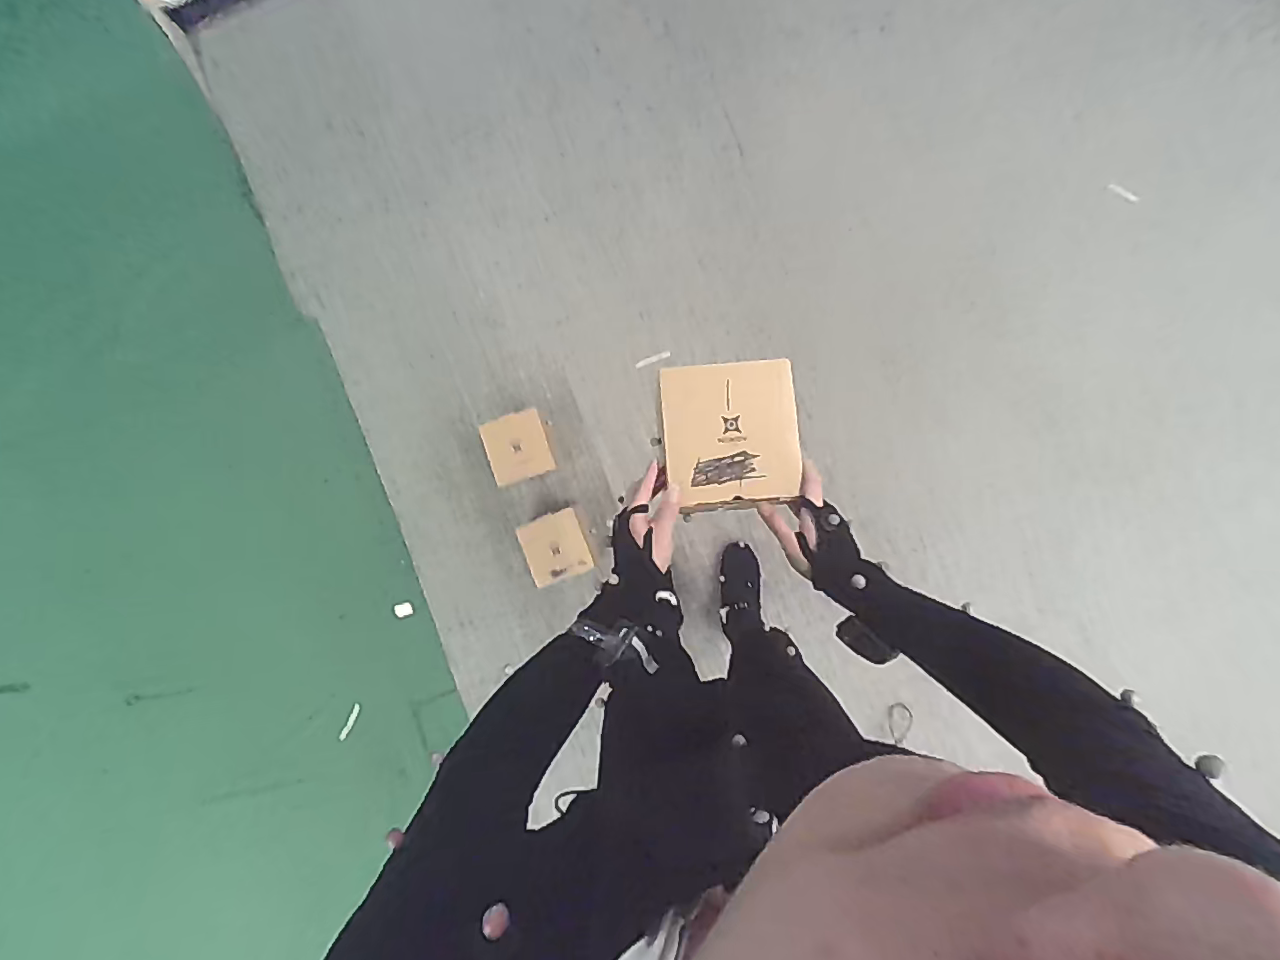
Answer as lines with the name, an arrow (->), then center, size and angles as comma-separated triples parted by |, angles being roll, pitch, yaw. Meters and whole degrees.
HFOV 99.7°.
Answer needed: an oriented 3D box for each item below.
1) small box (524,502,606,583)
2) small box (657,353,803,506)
small box -> -0.202, 0.168, 1.507 | 0.168, 0.176, 0.179 | -20, 88, 3
small box -> 0.111, -0.056, 0.727 | 0.168, 0.176, 0.179 | -4, 83, 1
